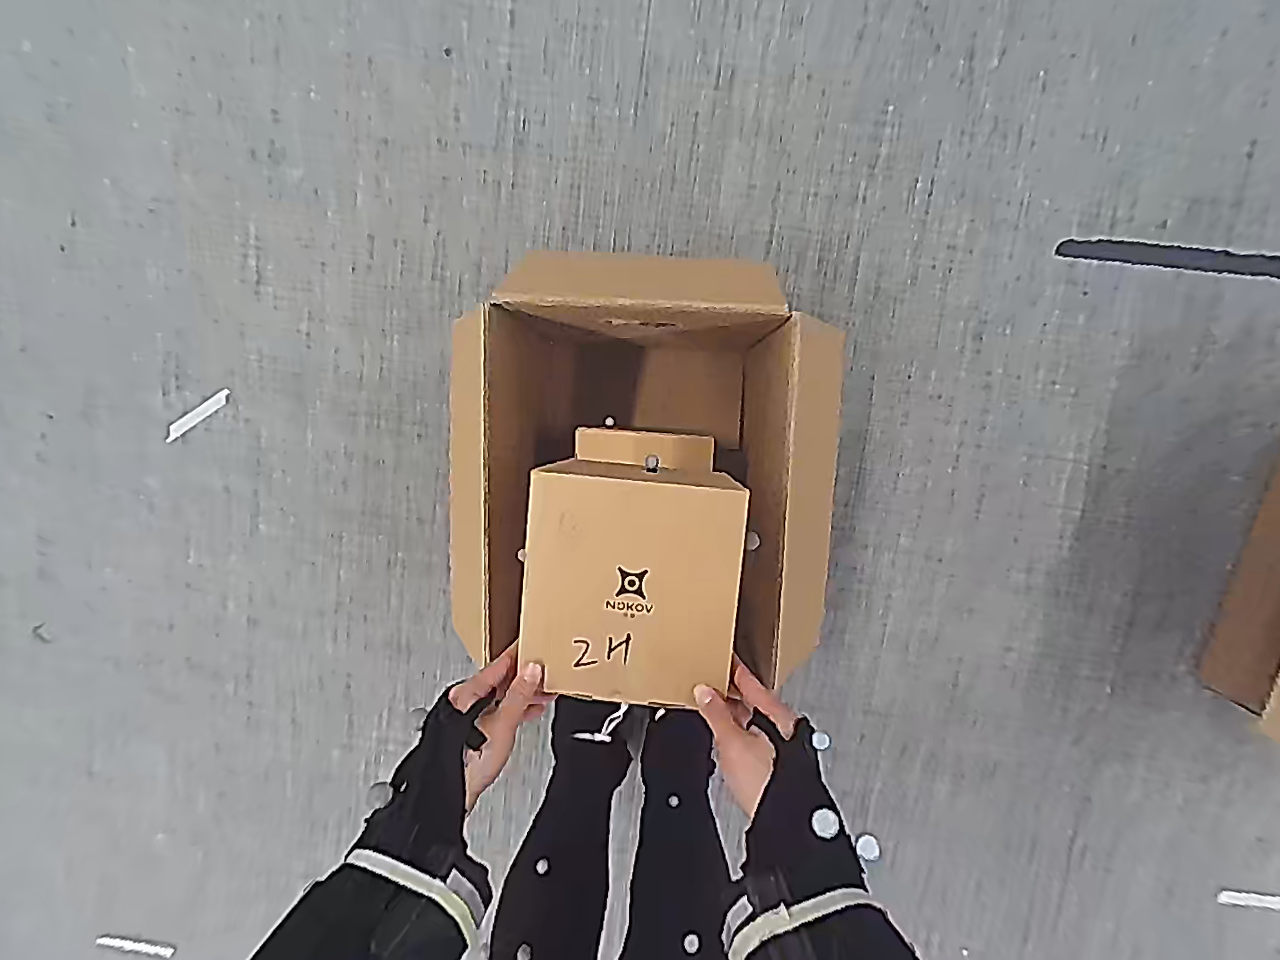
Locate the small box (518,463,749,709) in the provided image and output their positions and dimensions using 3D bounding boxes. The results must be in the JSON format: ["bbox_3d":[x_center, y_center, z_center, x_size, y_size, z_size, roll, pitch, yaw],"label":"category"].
[{"bbox_3d":[-0.003,0.078,0.493,0.168,0.176,0.179,5,95,3],"label":"small box"}]
